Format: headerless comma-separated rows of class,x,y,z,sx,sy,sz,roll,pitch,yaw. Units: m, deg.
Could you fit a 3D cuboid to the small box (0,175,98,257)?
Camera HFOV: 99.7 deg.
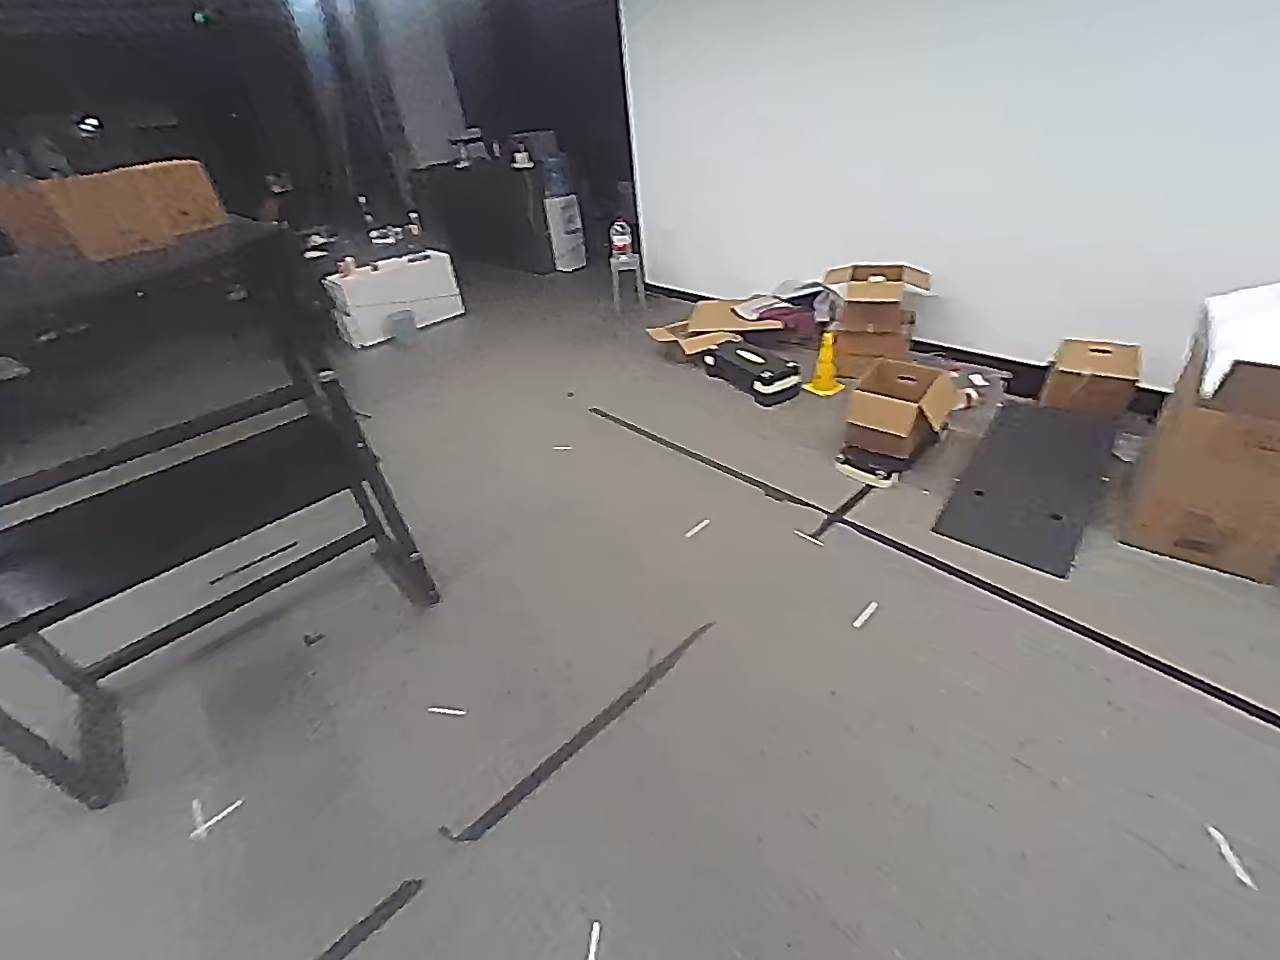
small box,-1.525,-0.694,1.417,0.168,0.176,0.179,-33,42,-32

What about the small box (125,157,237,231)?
small box,-1.330,-0.833,1.576,0.179,0.176,0.168,21,45,30

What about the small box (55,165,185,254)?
small box,-1.256,-0.654,1.312,0.179,0.176,0.168,24,46,38
